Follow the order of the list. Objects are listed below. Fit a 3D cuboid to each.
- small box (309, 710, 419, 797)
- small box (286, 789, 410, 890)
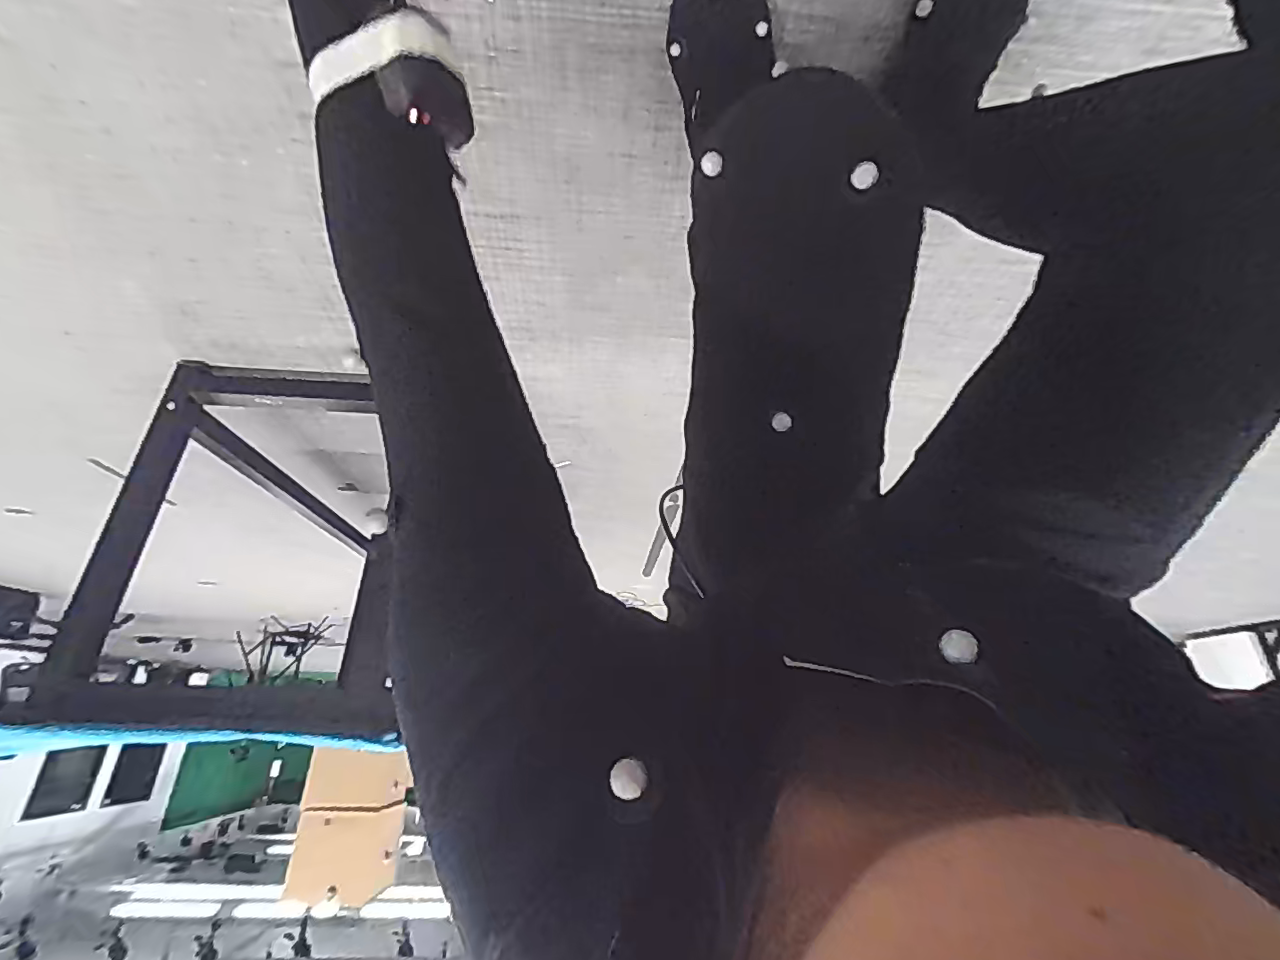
[{"bbox_3d":[-0.646,0.648,1.290,0.168,0.176,0.179,2,156,-2],"label":"small box"},{"bbox_3d":[-0.643,0.793,1.218,0.168,0.176,0.179,1,156,2],"label":"small box"}]
